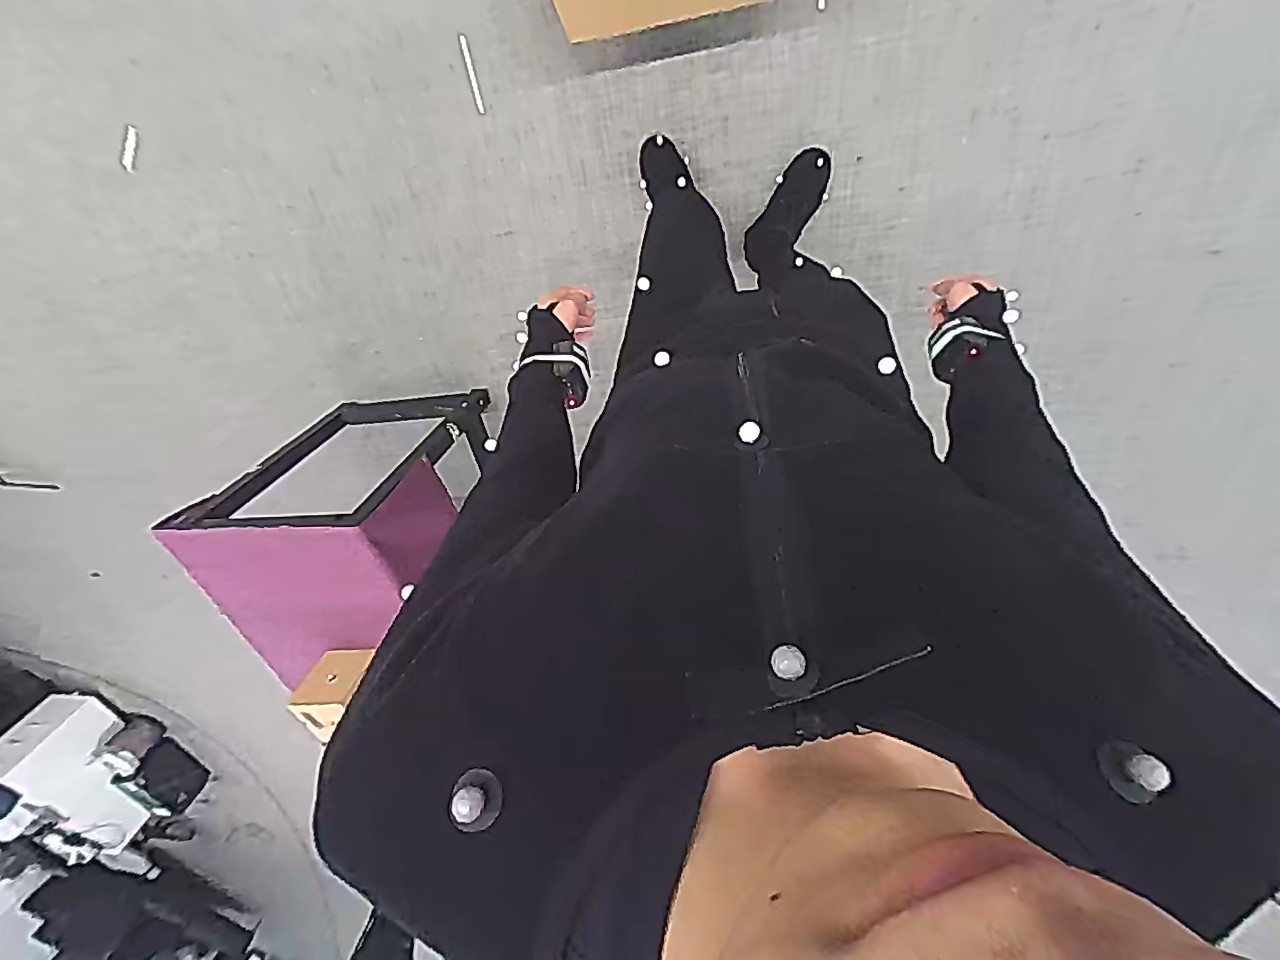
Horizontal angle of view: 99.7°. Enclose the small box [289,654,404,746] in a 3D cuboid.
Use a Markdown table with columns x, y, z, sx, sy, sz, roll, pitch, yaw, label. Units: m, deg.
| x | y | z | sx | sy | sz | roll | pitch | yaw | label |
| --- | --- | --- | --- | --- | --- | --- | --- | --- | --- |
| -0.782 | 0.590 | 1.458 | 0.179 | 0.176 | 0.168 | -8 | 123 | 16 | small box |
